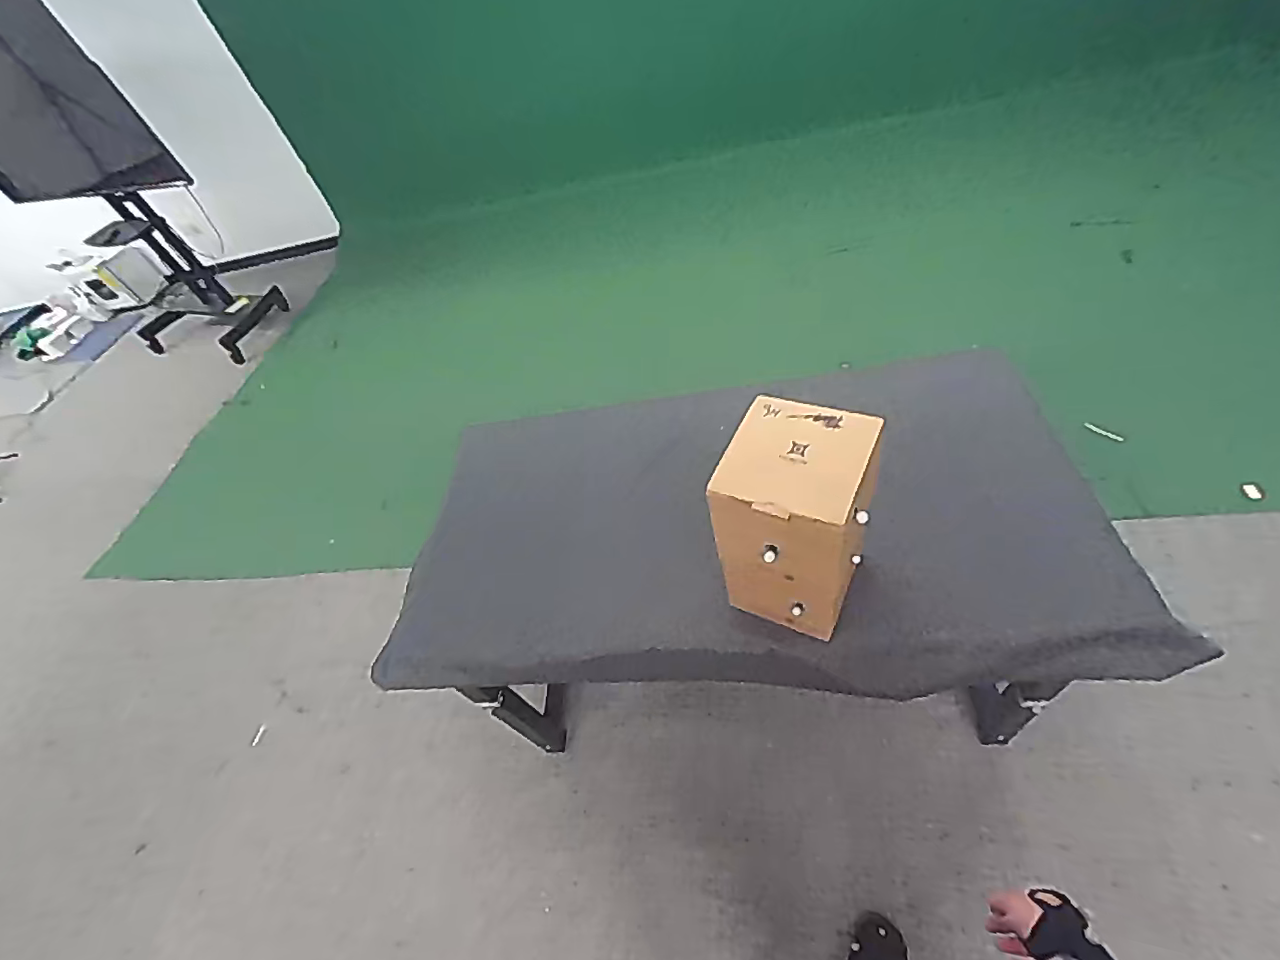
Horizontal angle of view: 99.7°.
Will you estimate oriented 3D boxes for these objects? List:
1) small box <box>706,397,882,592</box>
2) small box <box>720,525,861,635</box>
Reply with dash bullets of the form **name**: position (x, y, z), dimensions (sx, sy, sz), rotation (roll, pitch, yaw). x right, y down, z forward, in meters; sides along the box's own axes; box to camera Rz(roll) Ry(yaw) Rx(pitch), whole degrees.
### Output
- **small box**: position (0.206, 0.021, 0.716), dimensions (0.168, 0.176, 0.179), rotation (17, 59, 27)
- **small box**: position (0.241, 0.114, 0.847), dimensions (0.168, 0.176, 0.179), rotation (17, 56, 26)
